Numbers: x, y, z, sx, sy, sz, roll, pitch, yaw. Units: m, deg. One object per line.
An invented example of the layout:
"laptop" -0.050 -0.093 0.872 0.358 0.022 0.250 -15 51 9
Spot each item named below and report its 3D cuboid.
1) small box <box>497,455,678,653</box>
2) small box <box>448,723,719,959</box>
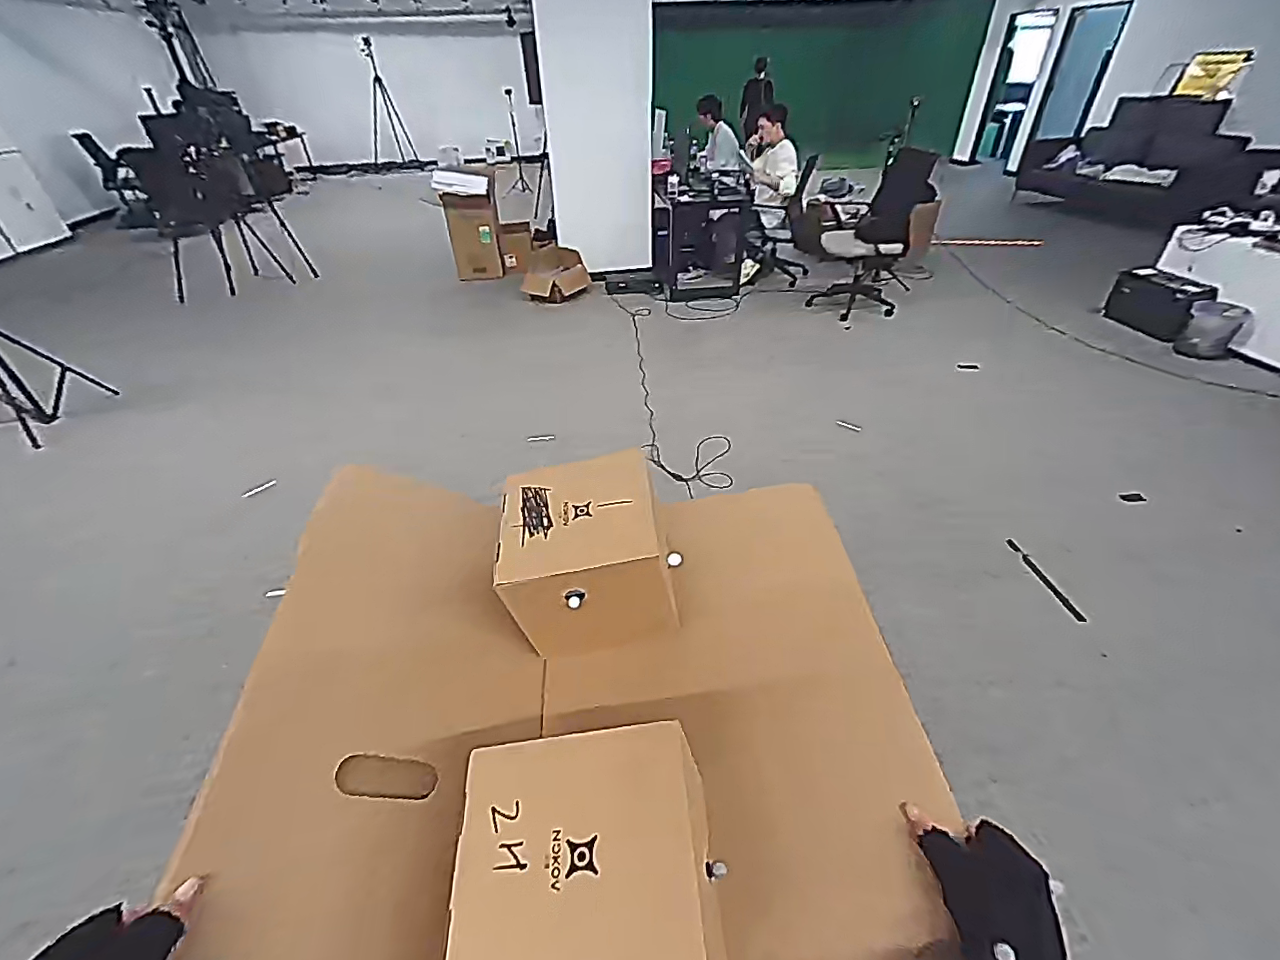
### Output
"small box" -0.058 0.097 0.672 0.179 0.176 0.168 -11 45 4
"small box" -0.032 0.322 0.448 0.179 0.176 0.168 -10 45 6
